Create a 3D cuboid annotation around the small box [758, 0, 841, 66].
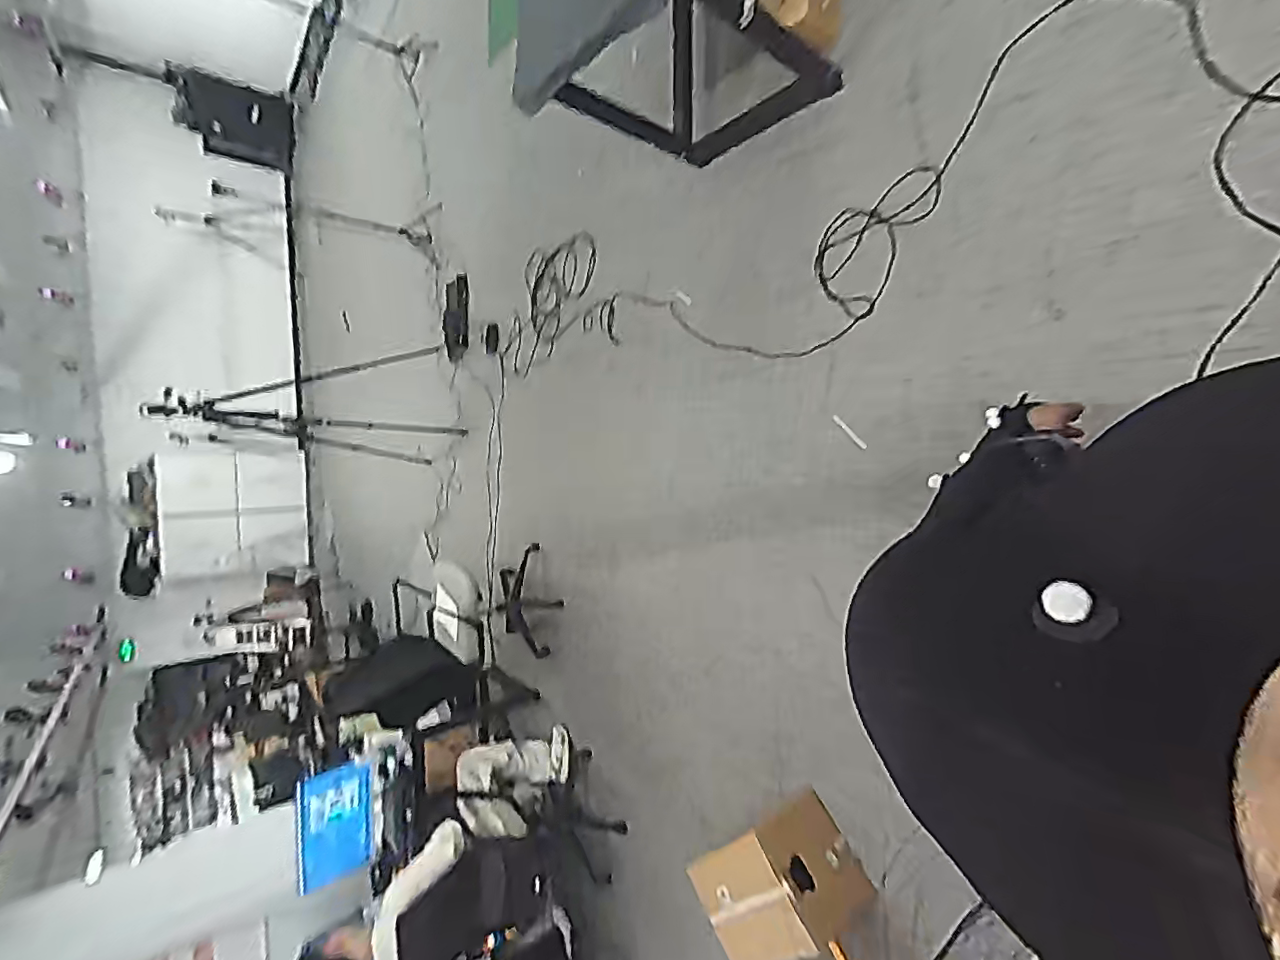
[{"bbox_3d":[0.472,-1.369,1.586,0.179,0.176,0.168,10,101,49],"label":"small box"}]
